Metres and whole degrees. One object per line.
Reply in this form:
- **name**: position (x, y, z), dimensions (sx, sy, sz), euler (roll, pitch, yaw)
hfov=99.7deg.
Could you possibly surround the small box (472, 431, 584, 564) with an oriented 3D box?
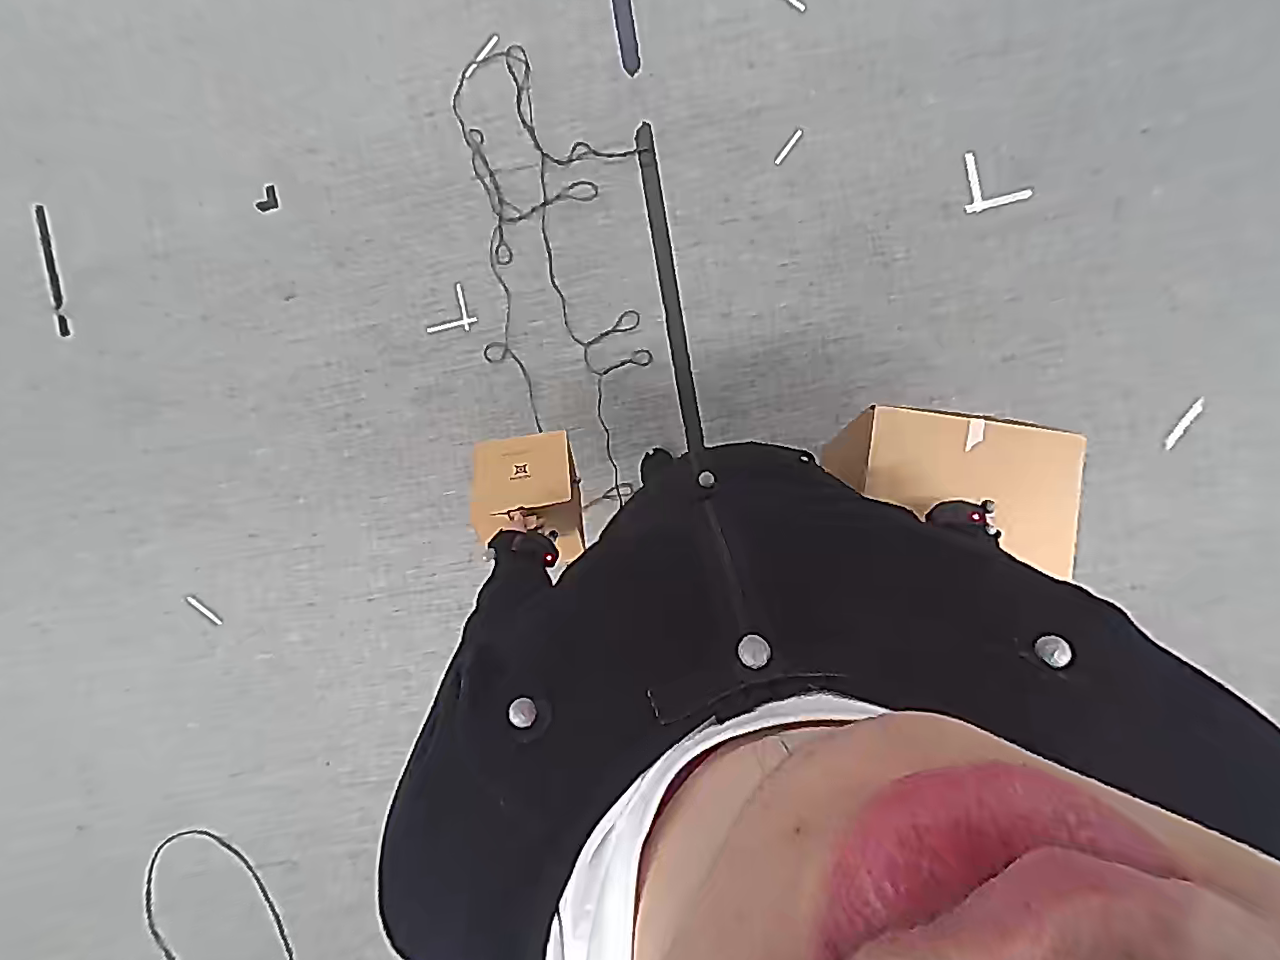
- **small box**: position (-0.199, 0.039, 0.993), dimensions (0.168, 0.179, 0.176), euler (-9, 137, -3)
